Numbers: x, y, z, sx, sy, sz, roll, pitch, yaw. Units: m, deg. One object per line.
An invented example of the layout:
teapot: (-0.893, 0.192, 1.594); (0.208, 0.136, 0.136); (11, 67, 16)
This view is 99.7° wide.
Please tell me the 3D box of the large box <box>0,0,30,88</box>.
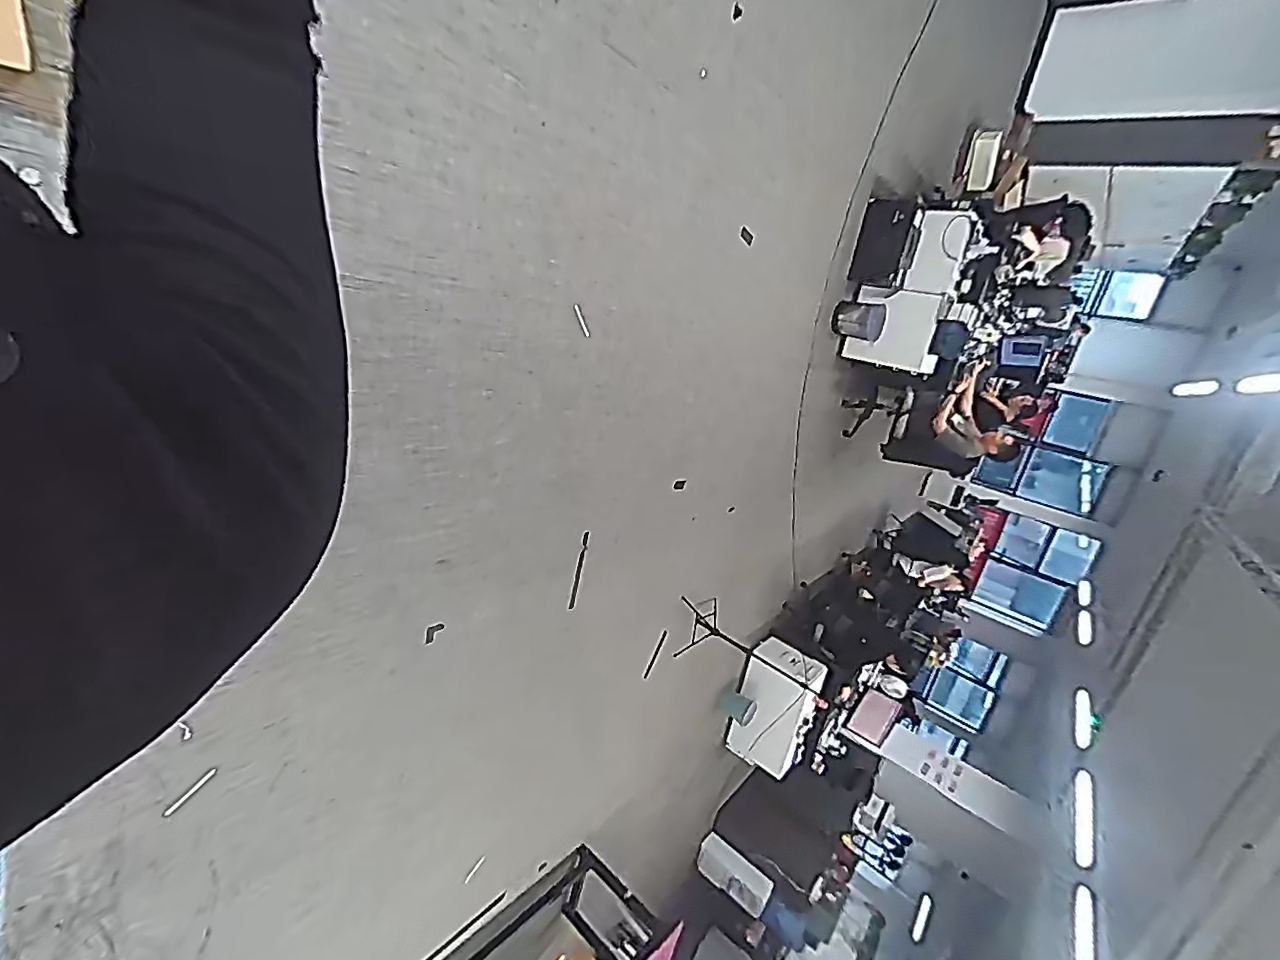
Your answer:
large box: (-1.041, -0.704, 0.612); (0.408, 0.320, 0.320); (-16, 121, -50)
